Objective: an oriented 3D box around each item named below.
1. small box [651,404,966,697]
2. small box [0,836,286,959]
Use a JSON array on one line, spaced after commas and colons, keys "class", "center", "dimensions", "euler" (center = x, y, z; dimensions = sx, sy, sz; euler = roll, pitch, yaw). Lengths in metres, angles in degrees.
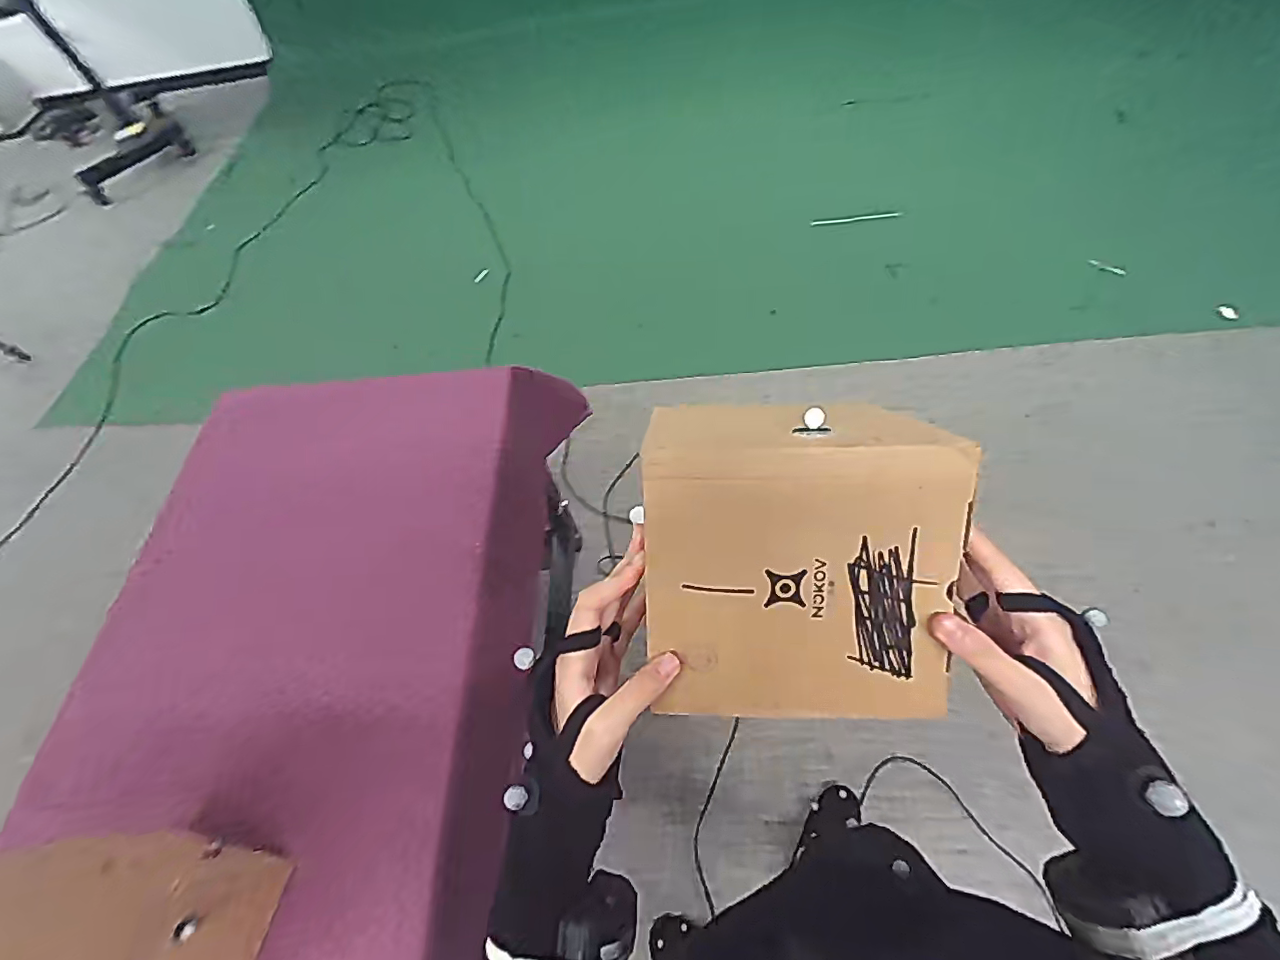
[{"class": "small box", "center": [0.099, 0.034, 0.397], "dimensions": [0.179, 0.168, 0.176], "euler": [0, 14, 5]}, {"class": "small box", "center": [-0.519, 0.488, 0.558], "dimensions": [0.168, 0.176, 0.179], "euler": [5, 58, 12]}]
